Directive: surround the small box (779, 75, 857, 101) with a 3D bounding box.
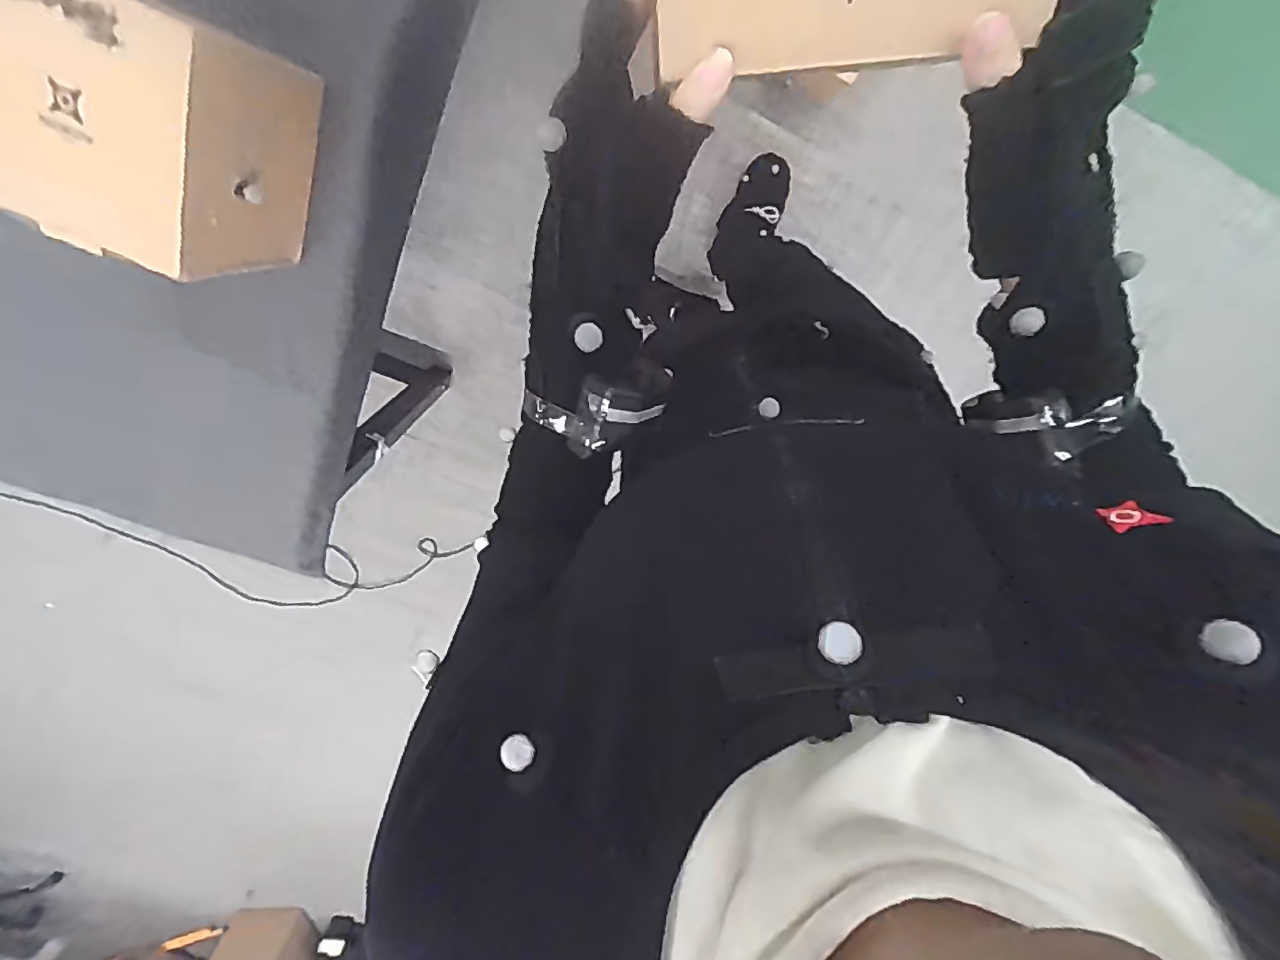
[{"bbox_3d":[0.340,-0.840,0.996,0.168,0.176,0.179,22,117,-10],"label":"small box"}]

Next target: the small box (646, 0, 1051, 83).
[{"bbox_3d":[0.085,-0.298,0.250,0.168,0.176,0.179,-2,126,2],"label":"small box"}]

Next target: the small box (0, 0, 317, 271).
[{"bbox_3d":[-0.403,-0.301,0.451,0.168,0.176,0.179,22,115,-10],"label":"small box"}]
